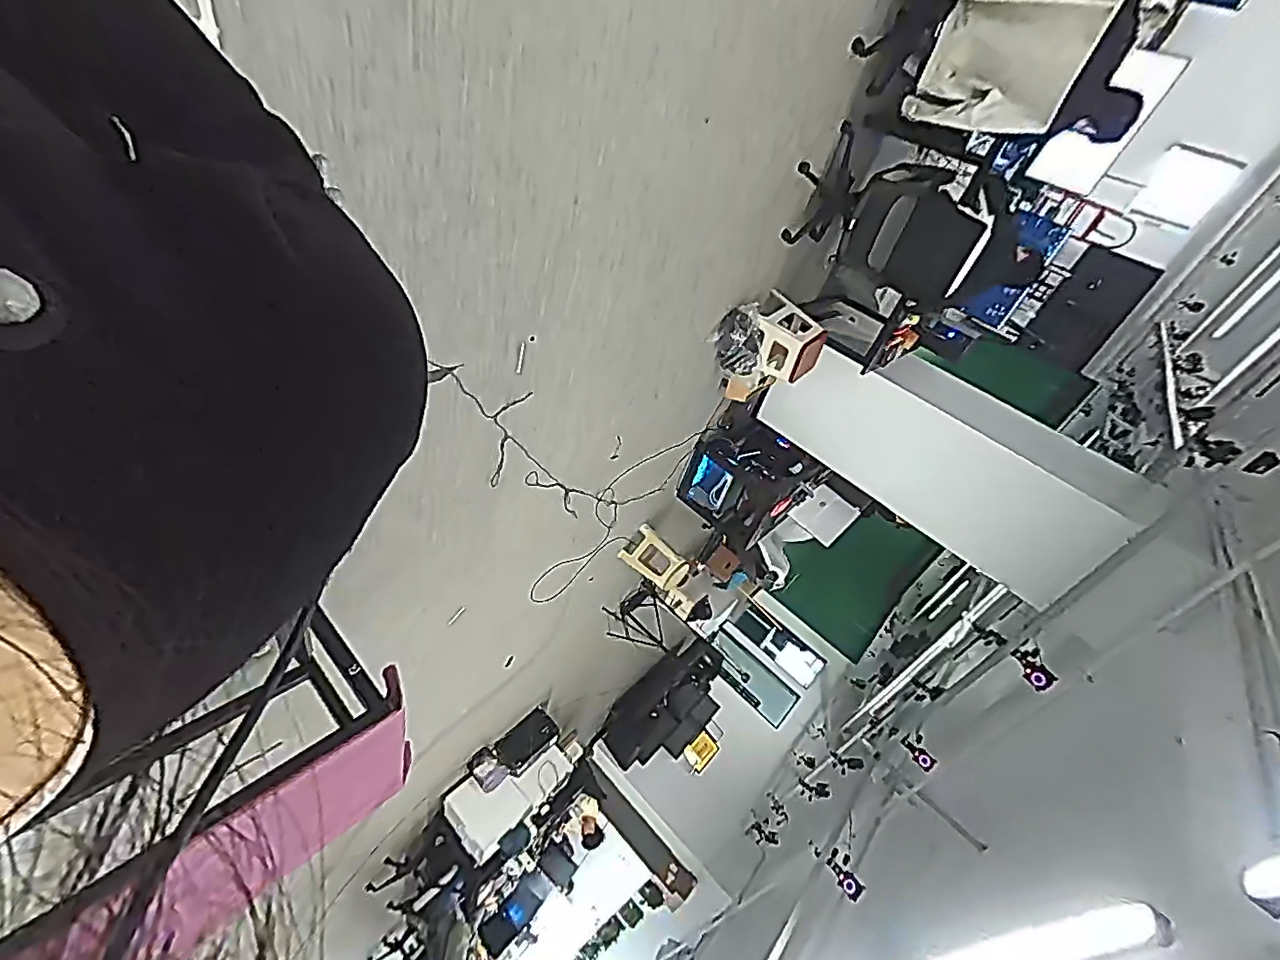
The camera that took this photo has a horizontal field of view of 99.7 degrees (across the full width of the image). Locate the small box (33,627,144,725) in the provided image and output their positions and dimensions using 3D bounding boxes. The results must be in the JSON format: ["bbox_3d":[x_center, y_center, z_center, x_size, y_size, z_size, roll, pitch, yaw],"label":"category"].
[{"bbox_3d":[-1.556,0.542,1.528,0.168,0.176,0.179,-25,147,-45],"label":"small box"}]
